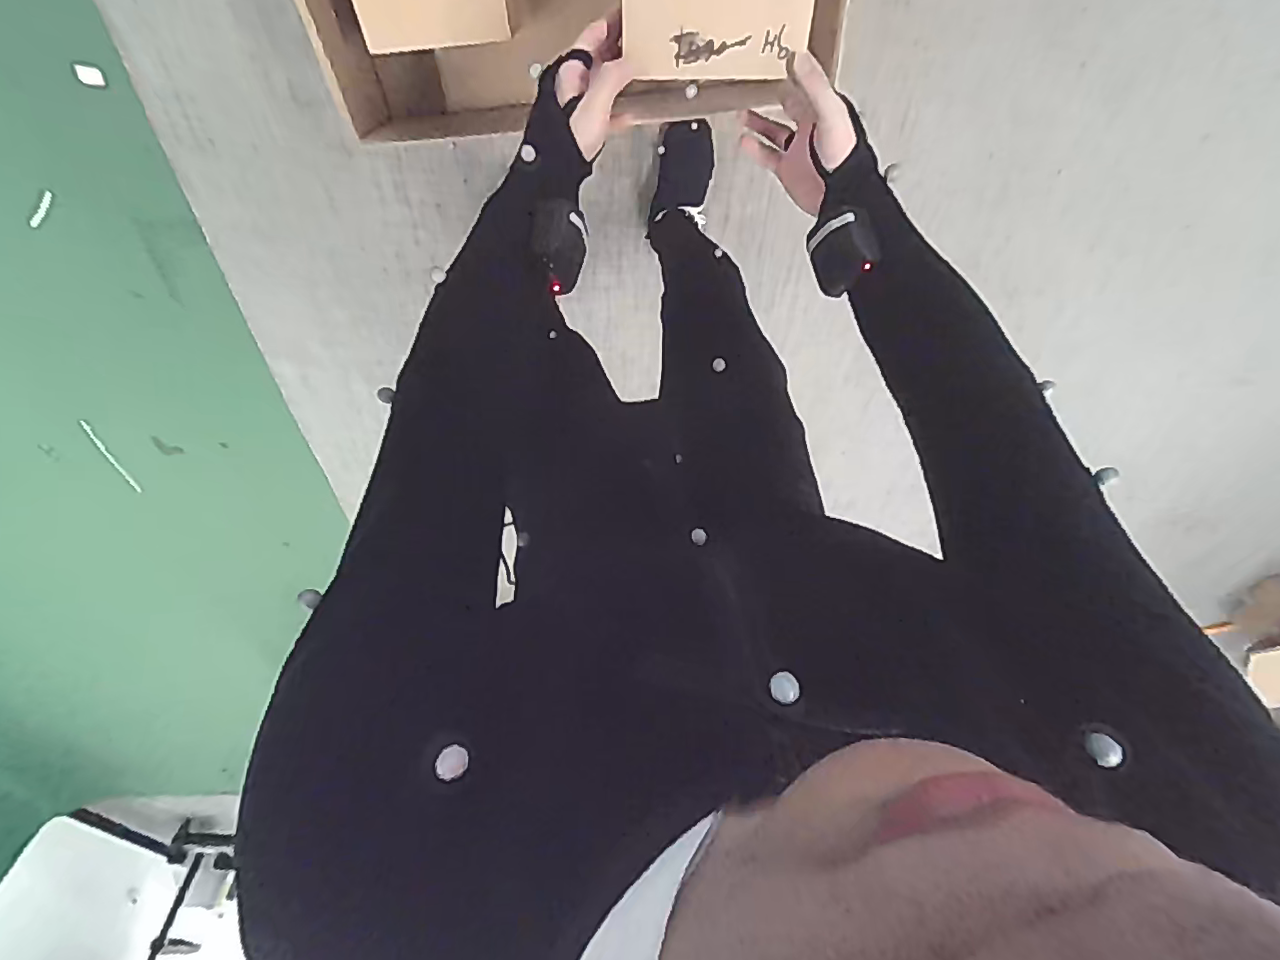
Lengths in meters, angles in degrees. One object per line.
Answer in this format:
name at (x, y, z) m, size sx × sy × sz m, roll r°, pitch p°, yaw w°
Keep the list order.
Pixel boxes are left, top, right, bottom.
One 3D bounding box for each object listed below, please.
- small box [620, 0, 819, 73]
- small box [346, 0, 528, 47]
small box at (0.066, -0.480, 0.489) m, size 0.168 × 0.176 × 0.179 m, roll -1°, pitch 128°, yaw -2°
small box at (-0.228, -0.595, 0.587) m, size 0.168 × 0.176 × 0.179 m, roll -2°, pitch 132°, yaw 3°
